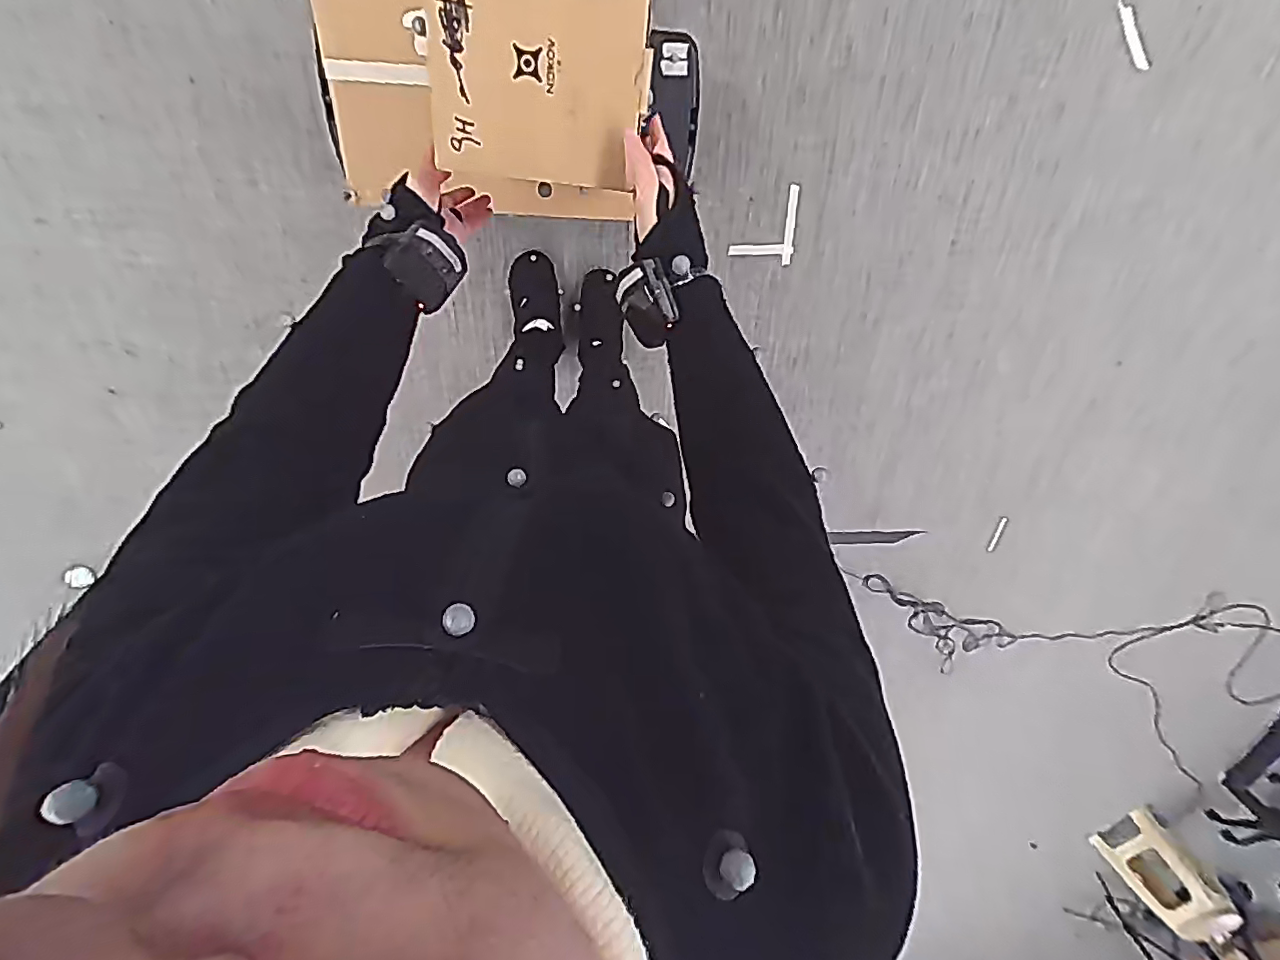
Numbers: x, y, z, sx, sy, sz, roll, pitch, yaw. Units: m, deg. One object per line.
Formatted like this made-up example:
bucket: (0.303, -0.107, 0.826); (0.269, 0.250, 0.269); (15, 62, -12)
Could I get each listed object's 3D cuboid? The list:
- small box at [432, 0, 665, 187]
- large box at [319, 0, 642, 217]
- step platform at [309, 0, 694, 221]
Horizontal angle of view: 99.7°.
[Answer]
small box: (-0.081, -0.374, 0.493); (0.179, 0.176, 0.168); (2, 119, -8)
large box: (-0.201, -0.594, 0.827); (0.408, 0.320, 0.320); (0, 119, -5)
step platform: (-0.240, -0.699, 1.038); (0.684, 0.204, 0.286); (5, 120, -8)
